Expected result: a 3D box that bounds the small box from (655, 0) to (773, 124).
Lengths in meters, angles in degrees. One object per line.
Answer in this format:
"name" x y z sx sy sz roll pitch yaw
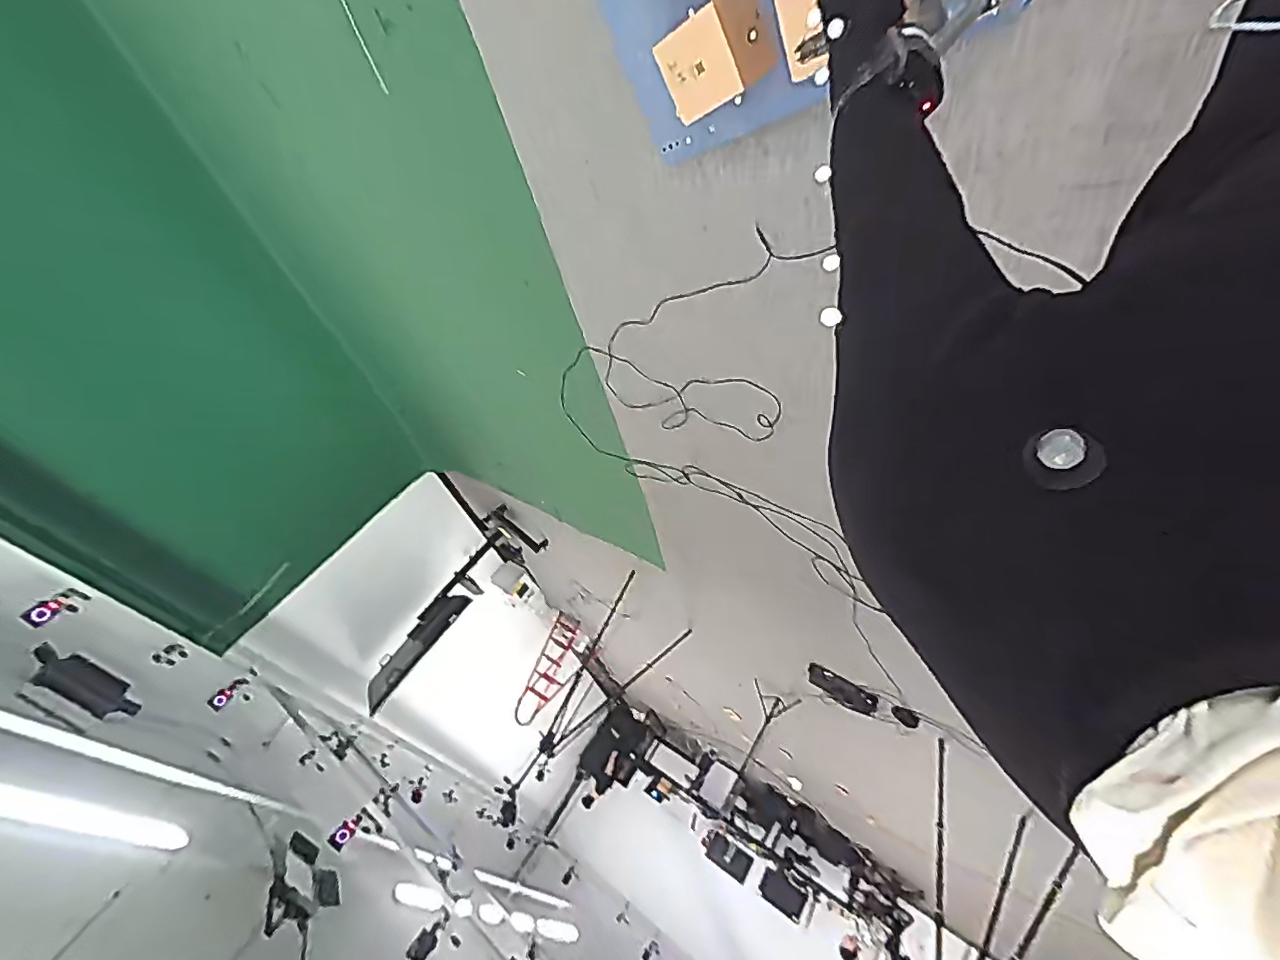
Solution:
"small box" 0.172 -0.940 1.196 0.179 0.176 0.168 4 136 48
